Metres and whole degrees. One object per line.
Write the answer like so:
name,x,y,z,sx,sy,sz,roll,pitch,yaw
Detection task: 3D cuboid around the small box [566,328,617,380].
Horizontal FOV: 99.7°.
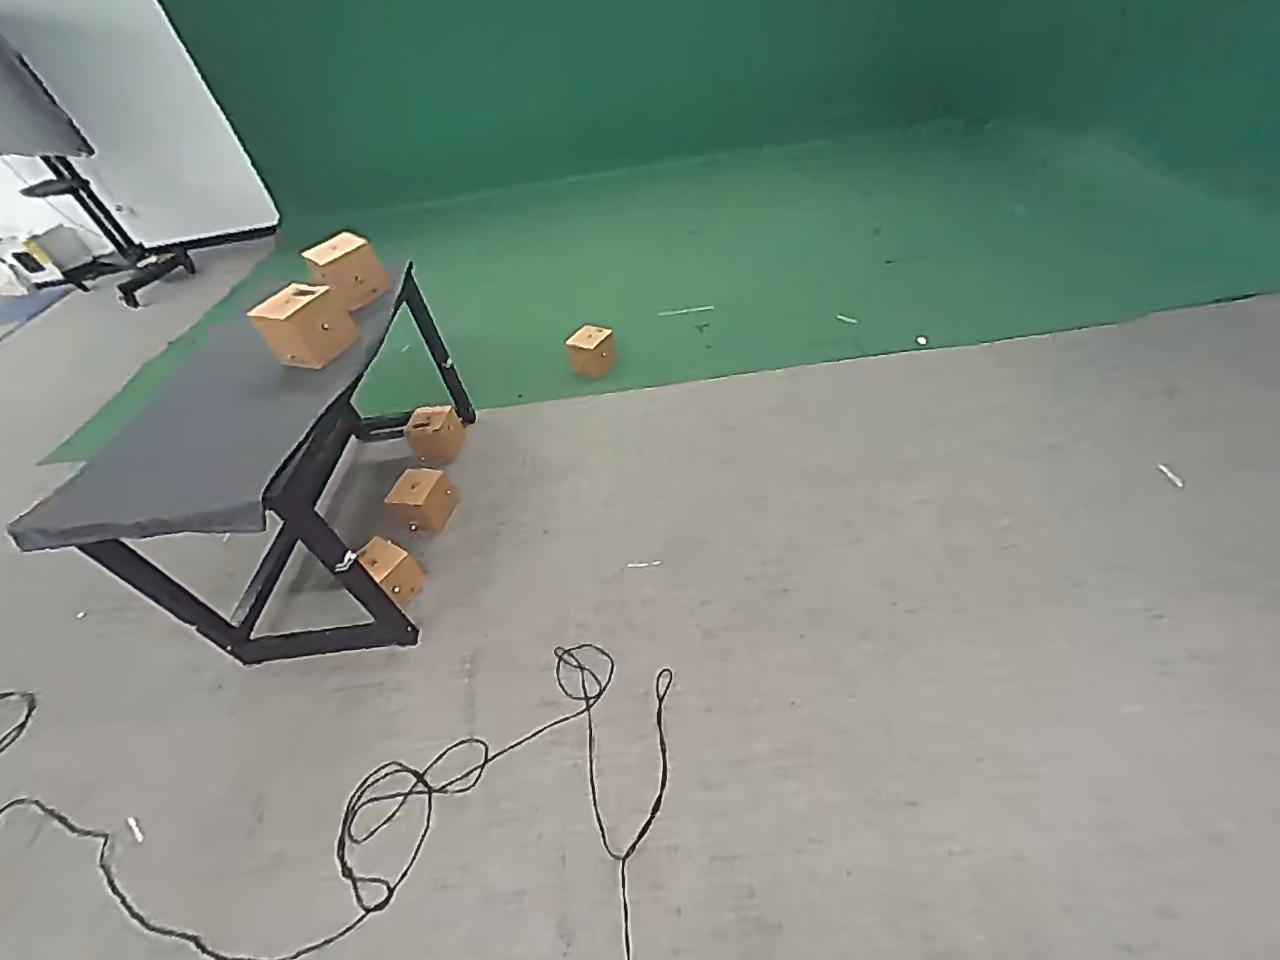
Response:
small box,-0.228,-0.614,2.640,0.168,0.176,0.179,19,53,27

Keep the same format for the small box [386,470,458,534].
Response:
small box,-0.821,0.083,2.059,0.168,0.176,0.179,3,48,14

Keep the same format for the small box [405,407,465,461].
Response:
small box,-0.880,-0.196,2.344,0.168,0.176,0.179,-3,44,7

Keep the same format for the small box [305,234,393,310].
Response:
small box,-0.971,-0.698,1.819,0.179,0.176,0.168,31,60,34

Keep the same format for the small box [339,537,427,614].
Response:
small box,-0.860,0.328,1.827,0.179,0.176,0.168,18,52,26
